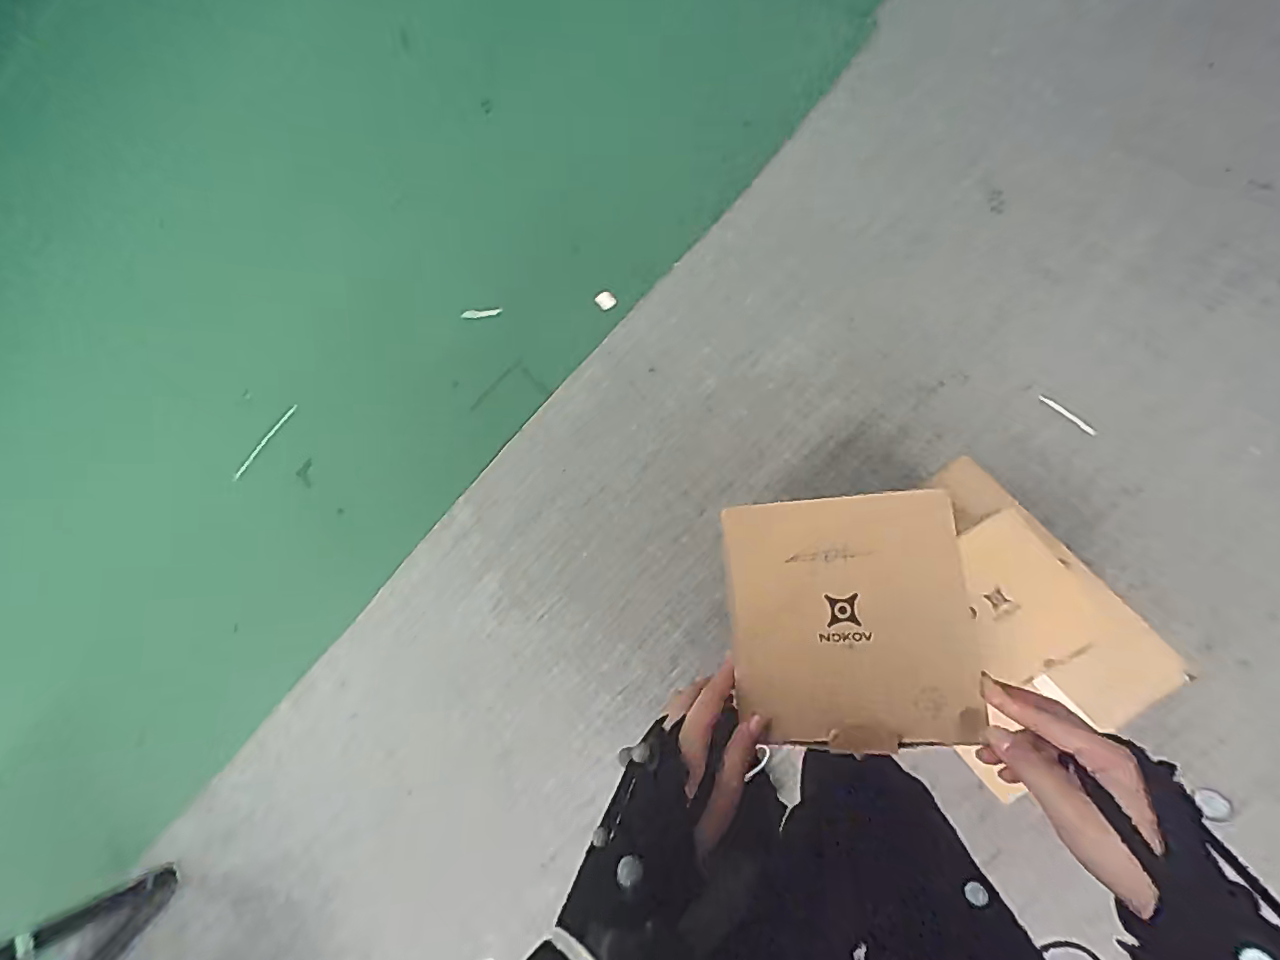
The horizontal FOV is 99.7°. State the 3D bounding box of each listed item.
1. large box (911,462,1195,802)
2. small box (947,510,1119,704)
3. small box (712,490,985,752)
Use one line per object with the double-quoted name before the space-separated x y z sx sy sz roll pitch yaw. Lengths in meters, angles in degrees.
"large box" 0.551 0.231 0.937 0.320 0.320 0.408 -42 73 9
"small box" 0.455 0.162 0.720 0.168 0.176 0.179 -35 74 9
"small box" 0.160 0.115 0.463 0.168 0.176 0.179 -8 76 12
